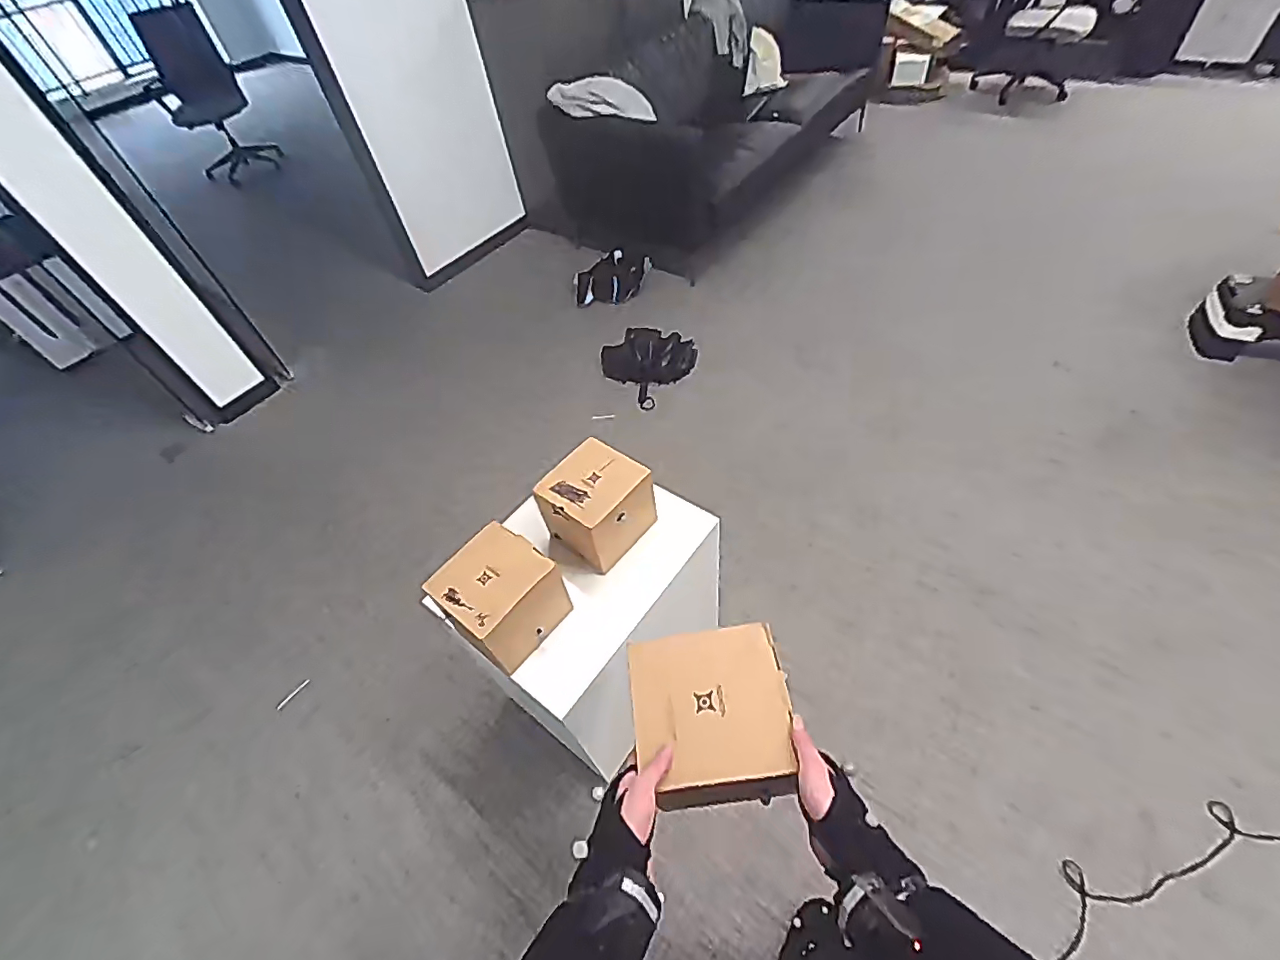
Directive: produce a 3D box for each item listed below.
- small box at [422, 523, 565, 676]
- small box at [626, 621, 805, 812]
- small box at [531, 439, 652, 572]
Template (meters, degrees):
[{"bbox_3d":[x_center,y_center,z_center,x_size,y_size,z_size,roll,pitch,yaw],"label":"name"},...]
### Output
[{"bbox_3d":[-0.256,0.219,0.991,0.168,0.176,0.179,29,59,28],"label":"small box"},{"bbox_3d":[0.090,0.294,0.663,0.179,0.176,0.168,-12,51,5],"label":"small box"},{"bbox_3d":[-0.089,0.055,1.103,0.168,0.176,0.179,31,60,28],"label":"small box"}]
